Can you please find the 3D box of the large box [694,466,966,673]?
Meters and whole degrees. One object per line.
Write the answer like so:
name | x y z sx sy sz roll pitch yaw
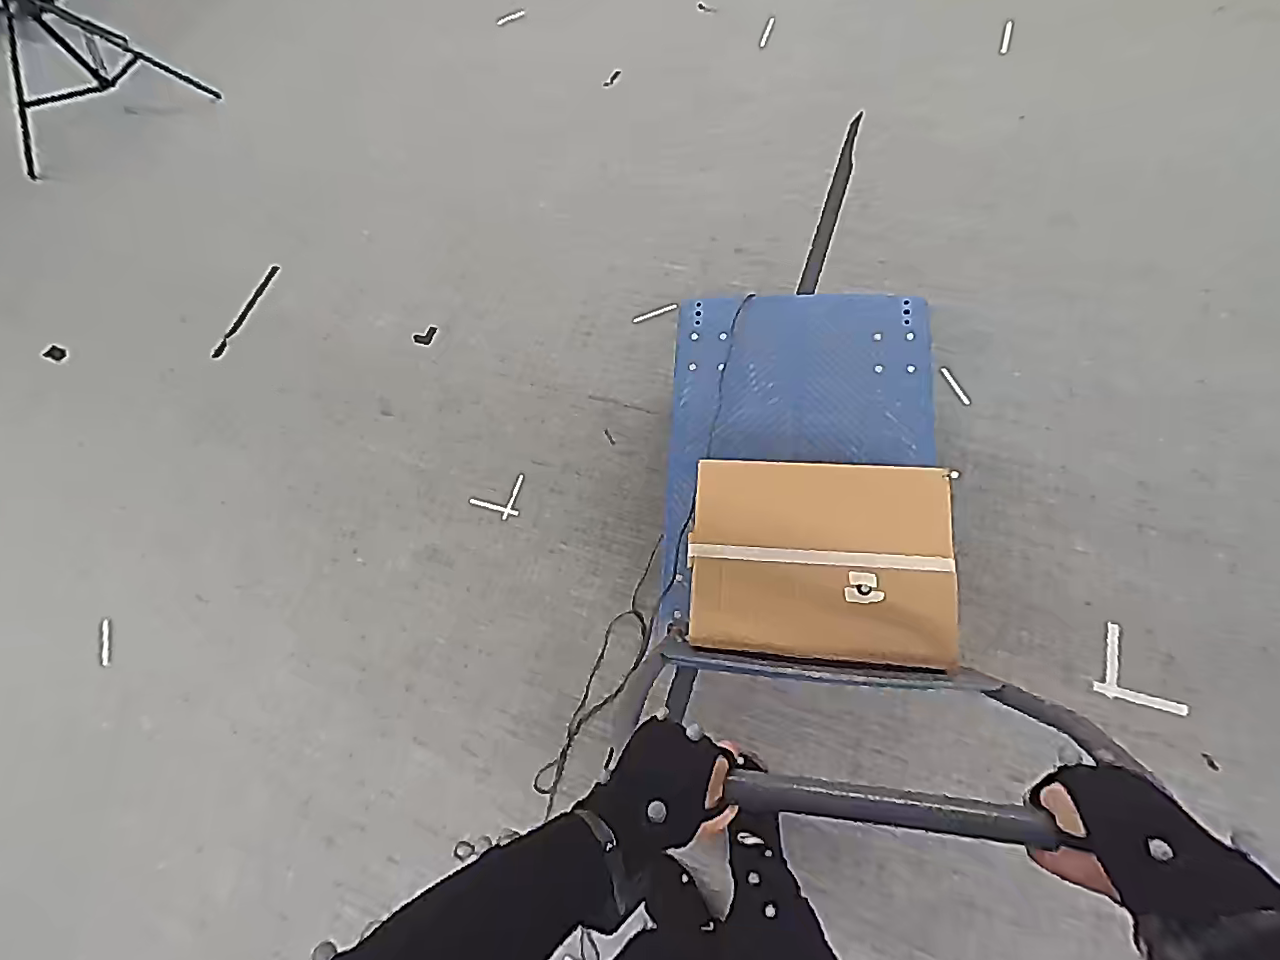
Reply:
large box | 0.308 0.166 0.994 0.408 0.320 0.320 2 77 9
